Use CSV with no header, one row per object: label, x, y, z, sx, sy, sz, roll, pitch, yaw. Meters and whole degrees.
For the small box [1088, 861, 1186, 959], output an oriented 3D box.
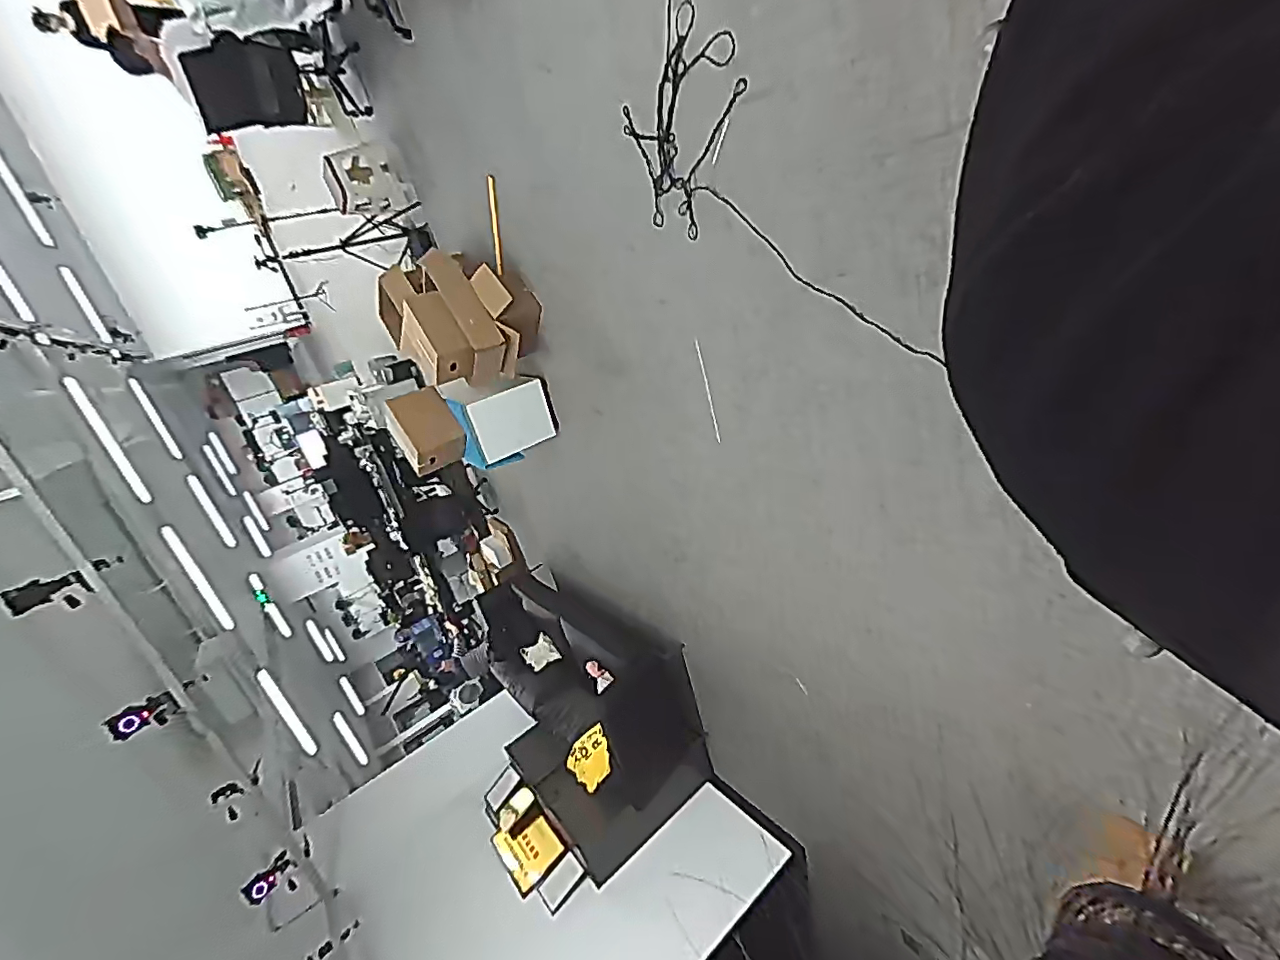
small box,1.369,1.214,1.491,0.168,0.176,0.179,12,124,54
